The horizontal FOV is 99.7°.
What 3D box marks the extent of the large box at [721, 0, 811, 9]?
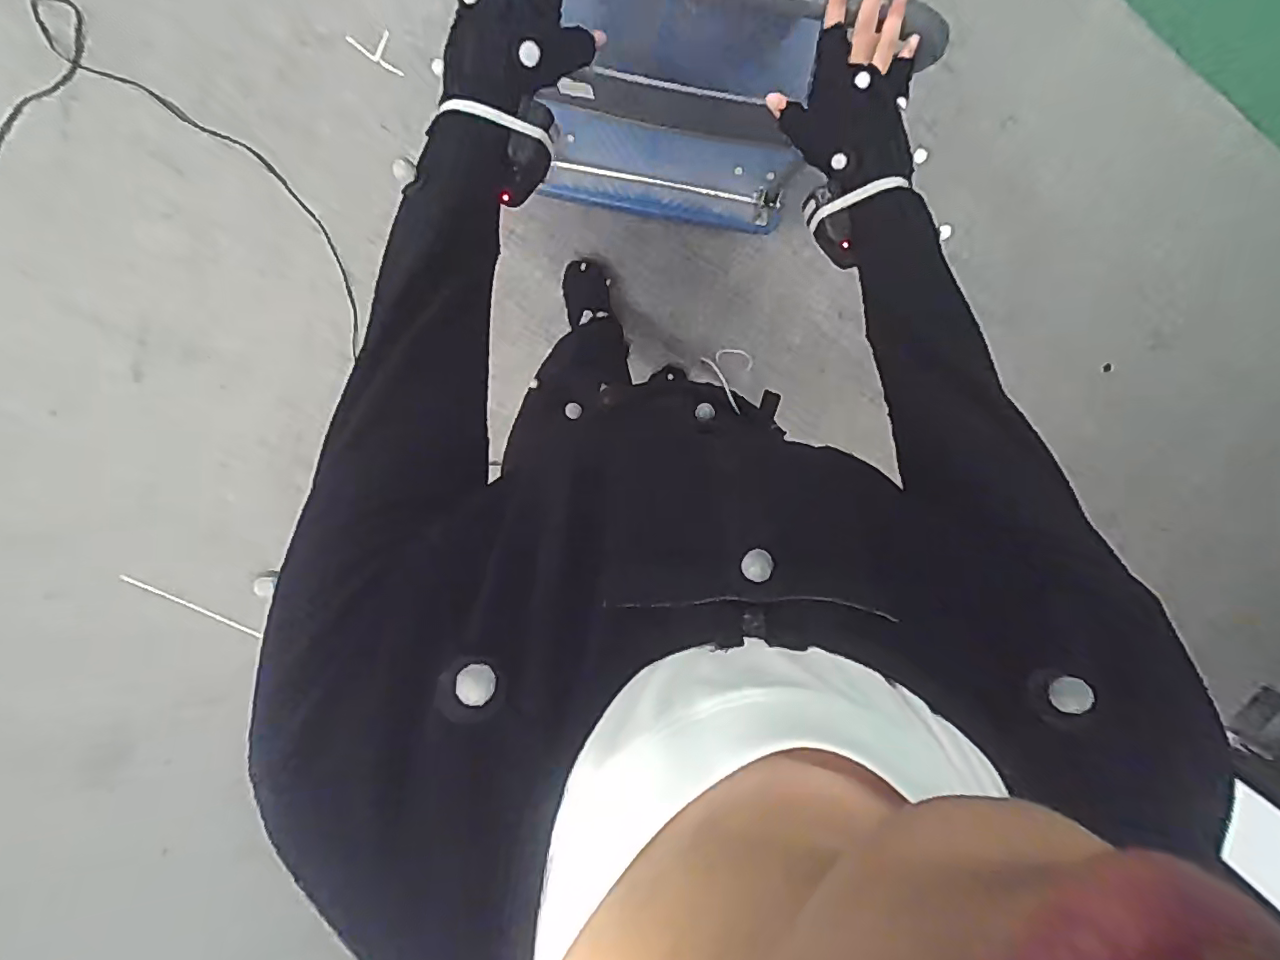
[{"bbox_3d":[0.144,-1.029,0.859,0.408,0.320,0.320,6,106,-3],"label":"large box"}]
